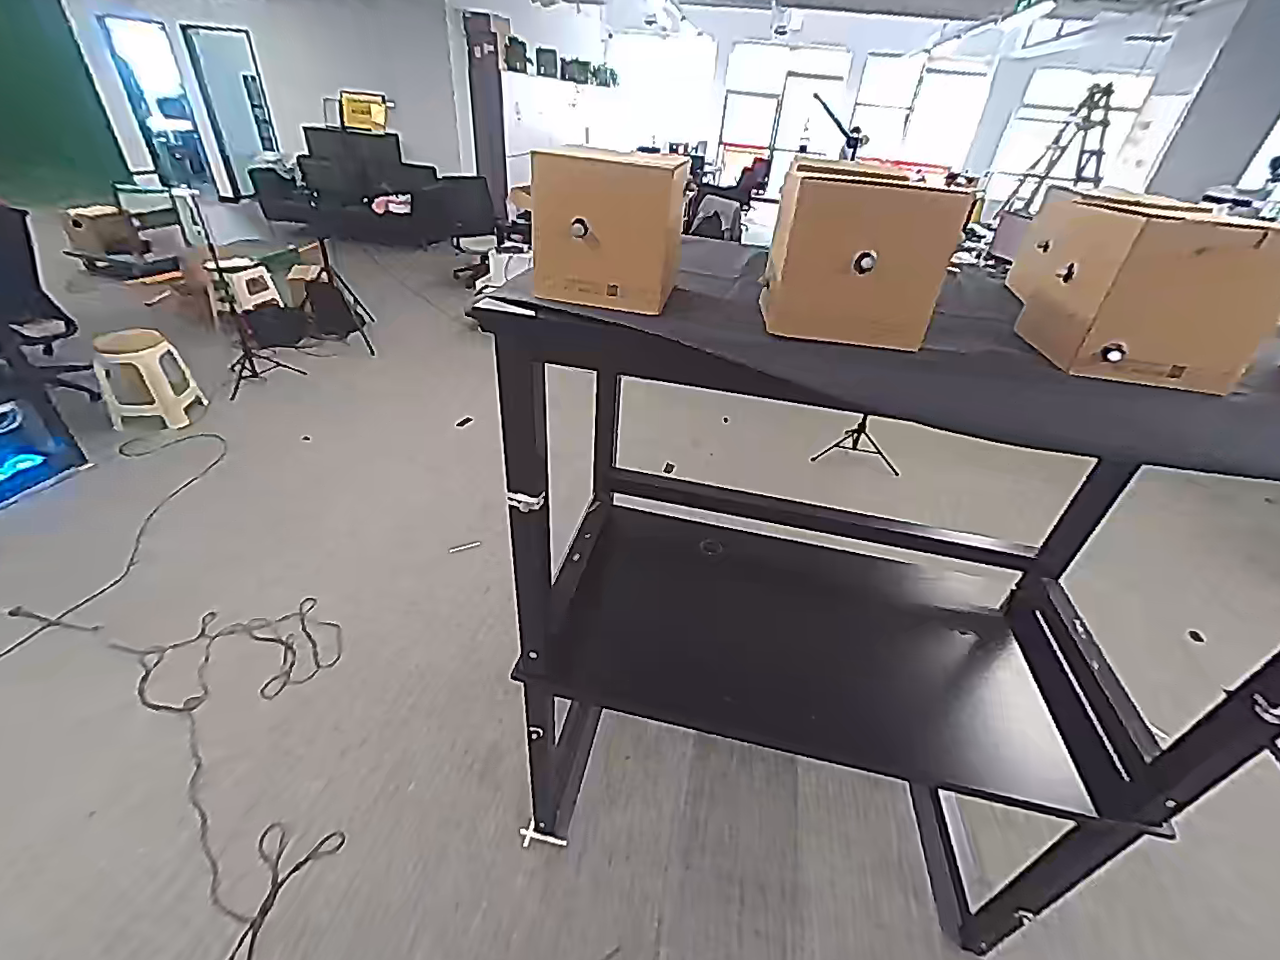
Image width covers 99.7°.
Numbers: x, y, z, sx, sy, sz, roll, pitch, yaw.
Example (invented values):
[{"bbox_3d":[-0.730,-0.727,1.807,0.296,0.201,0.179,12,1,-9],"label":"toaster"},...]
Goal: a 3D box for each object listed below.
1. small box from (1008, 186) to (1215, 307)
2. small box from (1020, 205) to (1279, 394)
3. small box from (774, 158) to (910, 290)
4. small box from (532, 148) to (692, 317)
[{"bbox_3d":[0.732,-0.361,0.868,0.168,0.176,0.179,15,35,11],"label":"small box"},{"bbox_3d":[0.591,-0.213,0.629,0.168,0.176,0.179,11,33,8],"label":"small box"},{"bbox_3d":[0.327,-0.432,0.910,0.168,0.176,0.179,11,35,6],"label":"small box"},{"bbox_3d":[-0.031,-0.324,0.706,0.168,0.176,0.179,10,35,6],"label":"small box"}]
